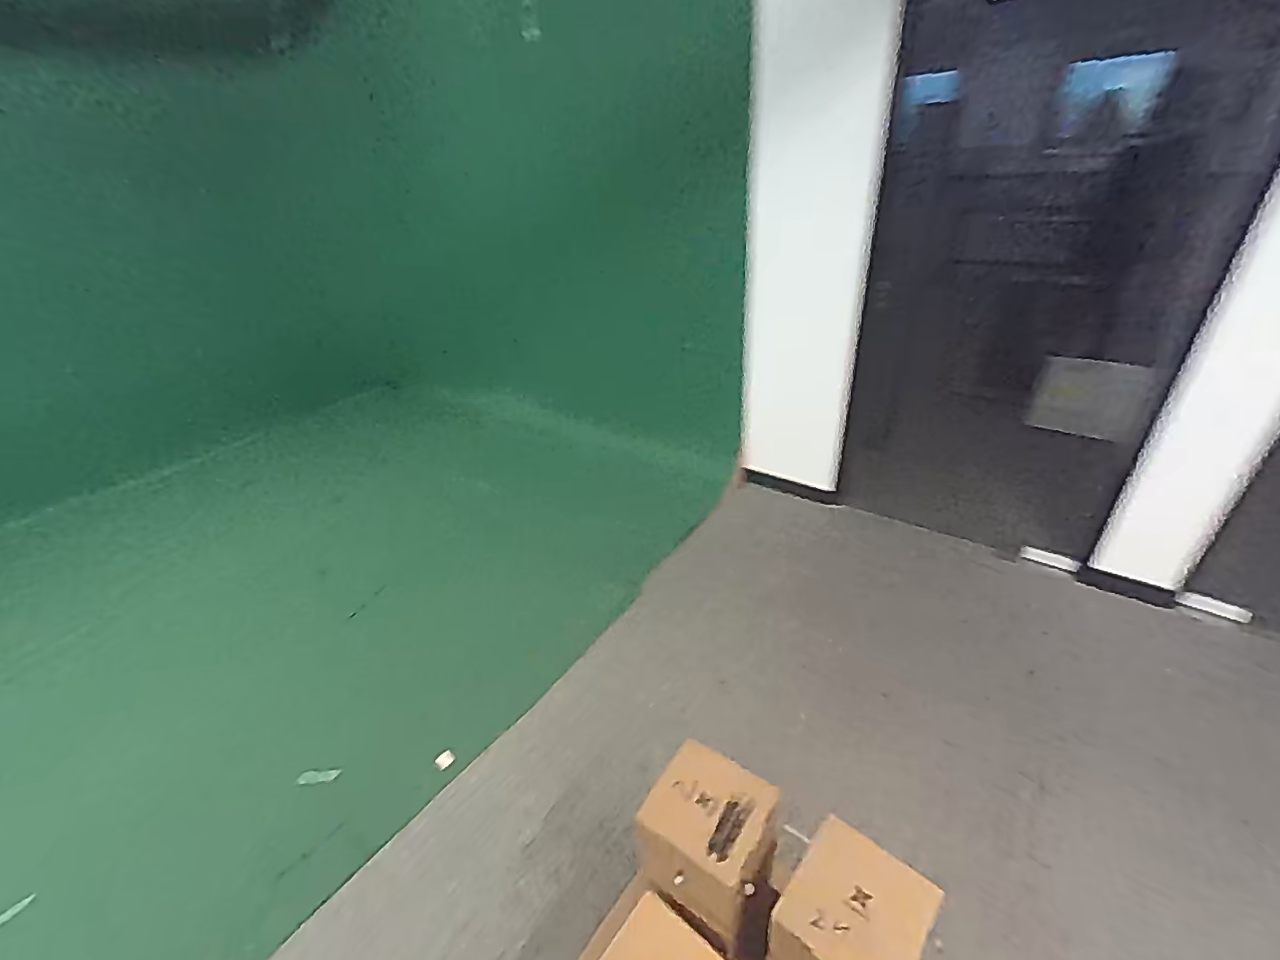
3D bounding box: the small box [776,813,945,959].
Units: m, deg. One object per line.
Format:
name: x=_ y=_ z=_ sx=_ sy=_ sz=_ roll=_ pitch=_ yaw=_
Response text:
small box: x=0.304 y=0.638 z=0.770 sx=0.168 sy=0.176 sz=0.179 roll=21 pitch=41 yaw=38
